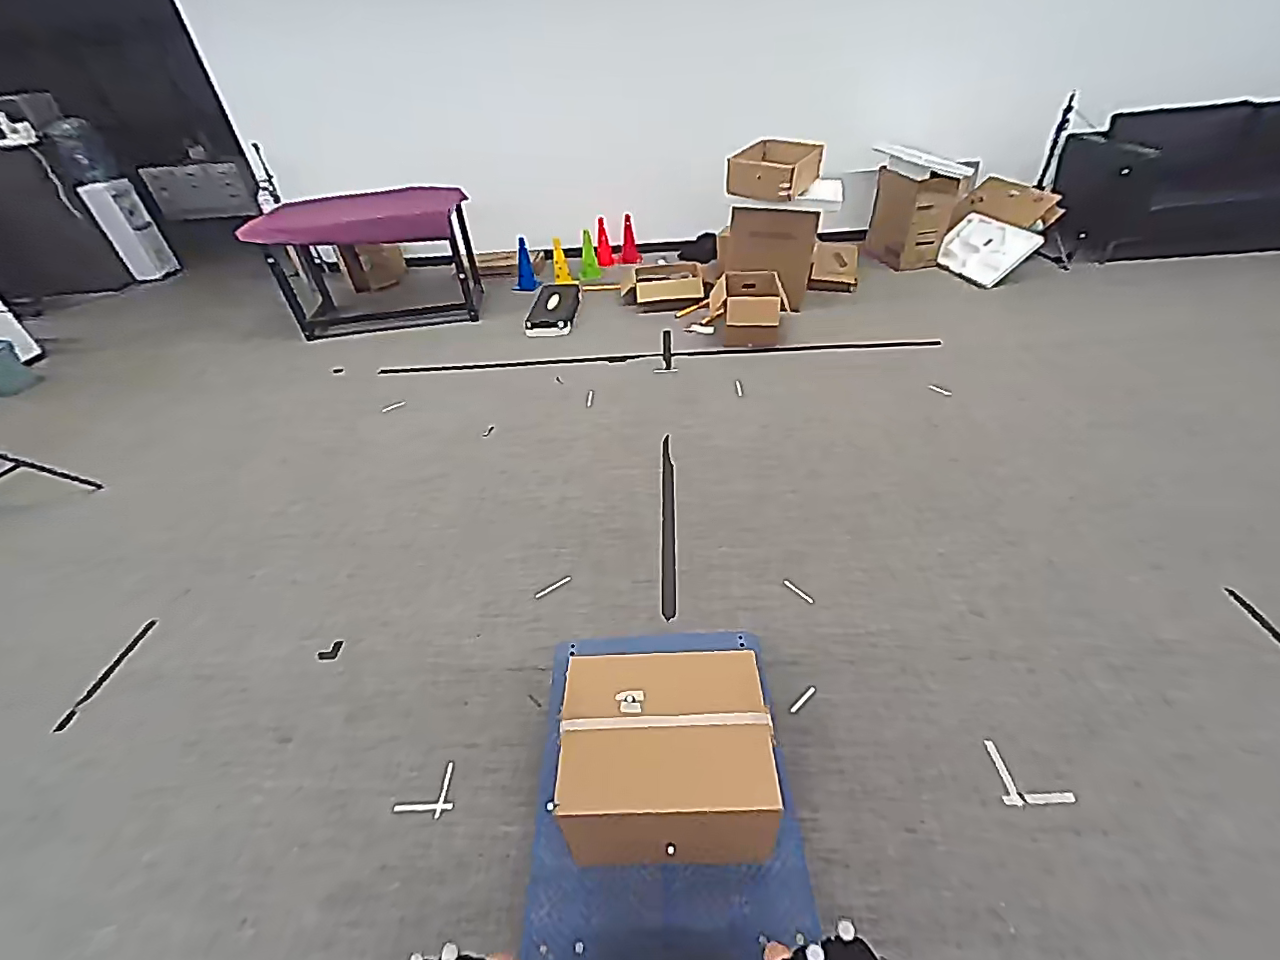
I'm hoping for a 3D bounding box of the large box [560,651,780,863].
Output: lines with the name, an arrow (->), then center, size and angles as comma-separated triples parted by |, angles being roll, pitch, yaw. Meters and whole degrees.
large box -> 0.062, 0.602, 1.173 | 0.408, 0.320, 0.320 | -4, 39, 3
